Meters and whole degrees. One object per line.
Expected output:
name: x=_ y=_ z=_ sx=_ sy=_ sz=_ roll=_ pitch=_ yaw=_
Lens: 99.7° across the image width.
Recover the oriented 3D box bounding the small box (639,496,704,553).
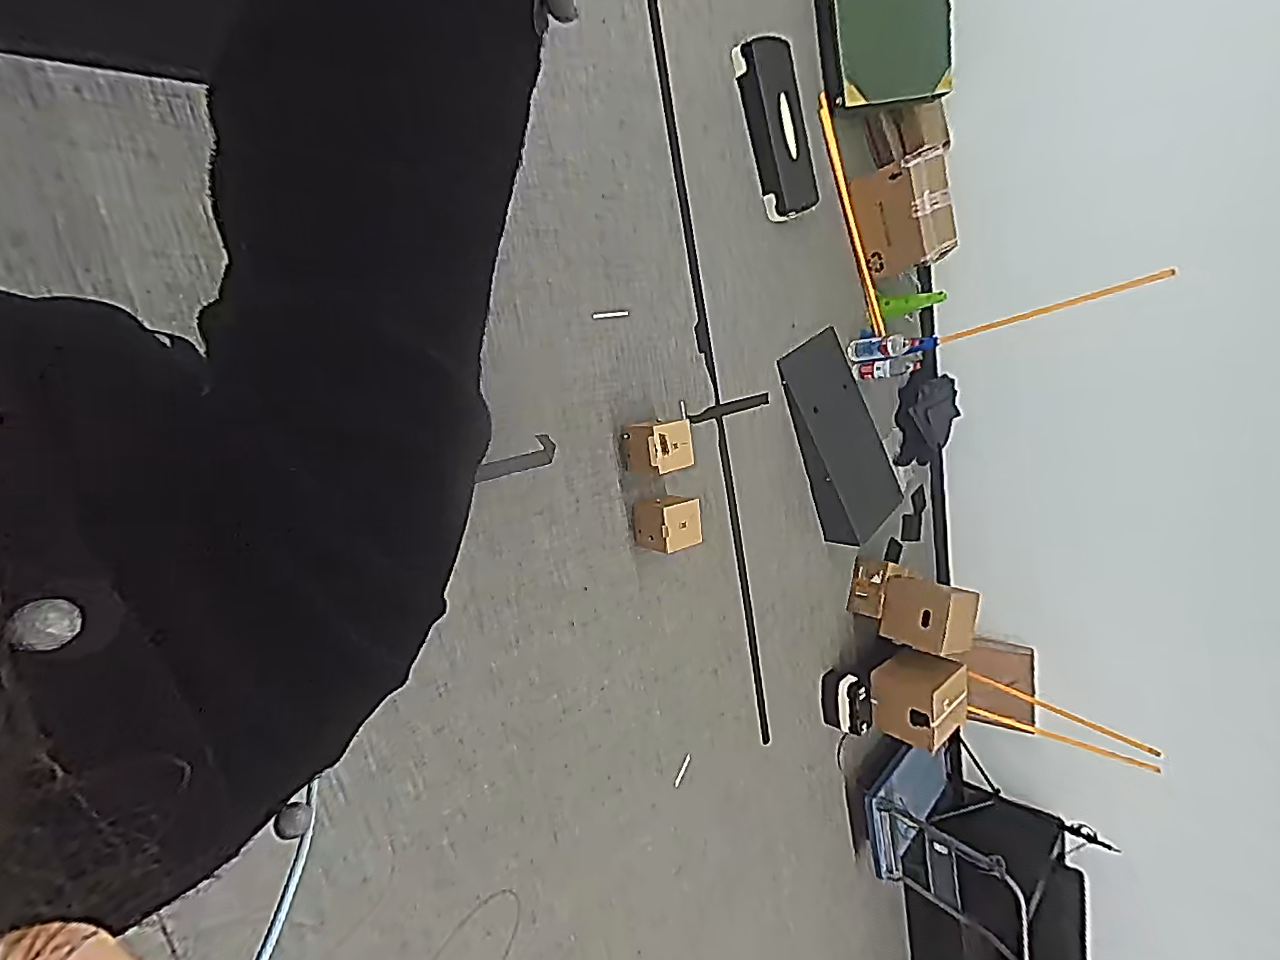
small box: x=0.109 y=0.156 z=1.957 sx=0.179 sy=0.176 sz=0.168 roll=-13 pitch=102 yaw=-39

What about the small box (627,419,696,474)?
small box: x=0.069 y=-0.119 z=1.903 sx=0.179 sy=0.176 sz=0.168 roll=-17 pitch=104 yaw=-38
